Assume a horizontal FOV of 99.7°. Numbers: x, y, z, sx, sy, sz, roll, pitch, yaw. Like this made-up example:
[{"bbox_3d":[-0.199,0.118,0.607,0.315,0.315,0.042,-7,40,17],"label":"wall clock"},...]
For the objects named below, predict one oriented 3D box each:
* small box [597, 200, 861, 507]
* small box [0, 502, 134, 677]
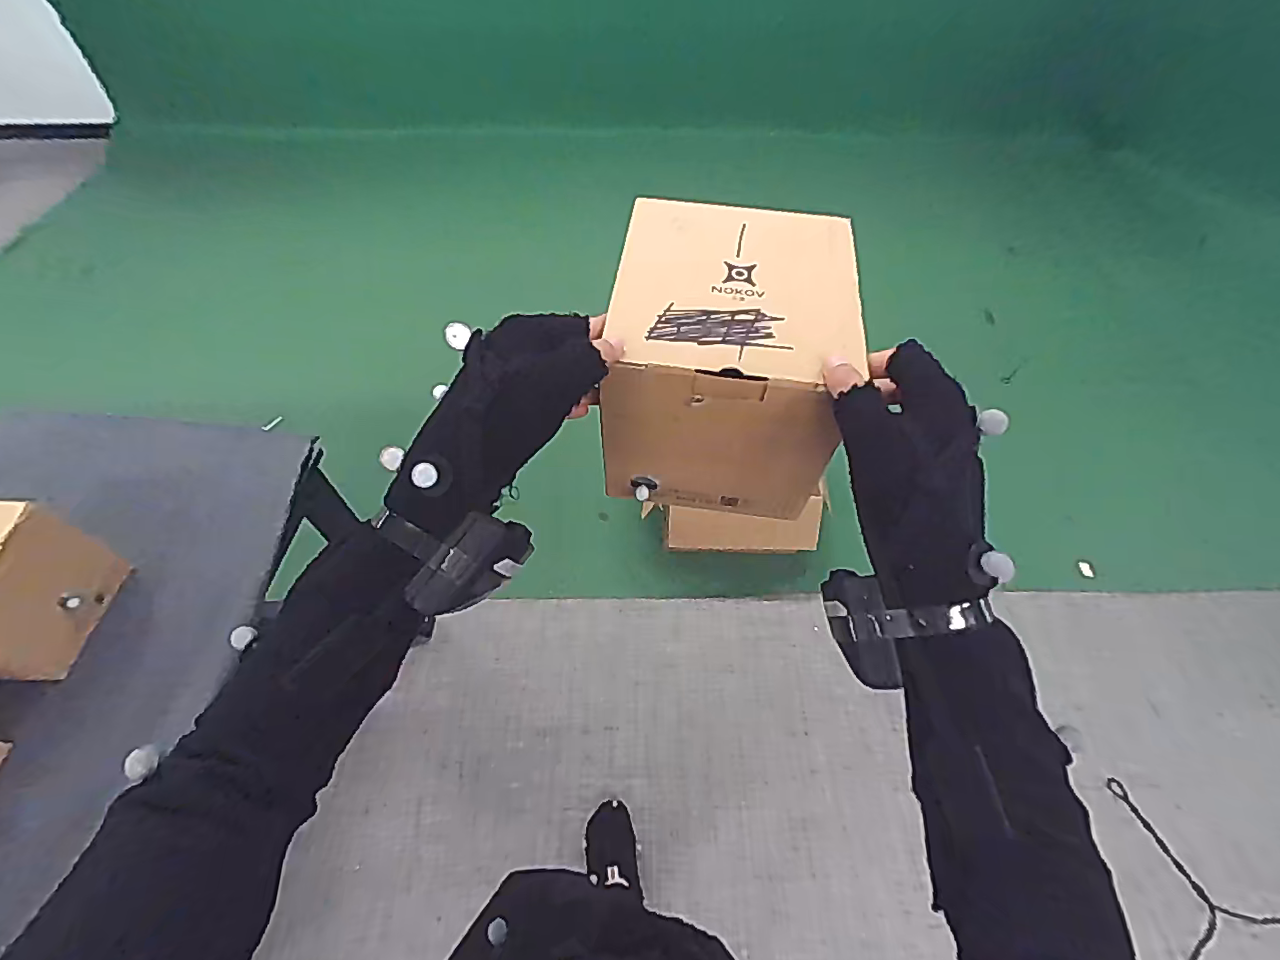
[{"bbox_3d":[0.065,-0.095,0.442,0.168,0.176,0.179,7,57,3],"label":"small box"},{"bbox_3d":[-0.819,0.141,0.679,0.179,0.176,0.168,0,54,0],"label":"small box"}]
